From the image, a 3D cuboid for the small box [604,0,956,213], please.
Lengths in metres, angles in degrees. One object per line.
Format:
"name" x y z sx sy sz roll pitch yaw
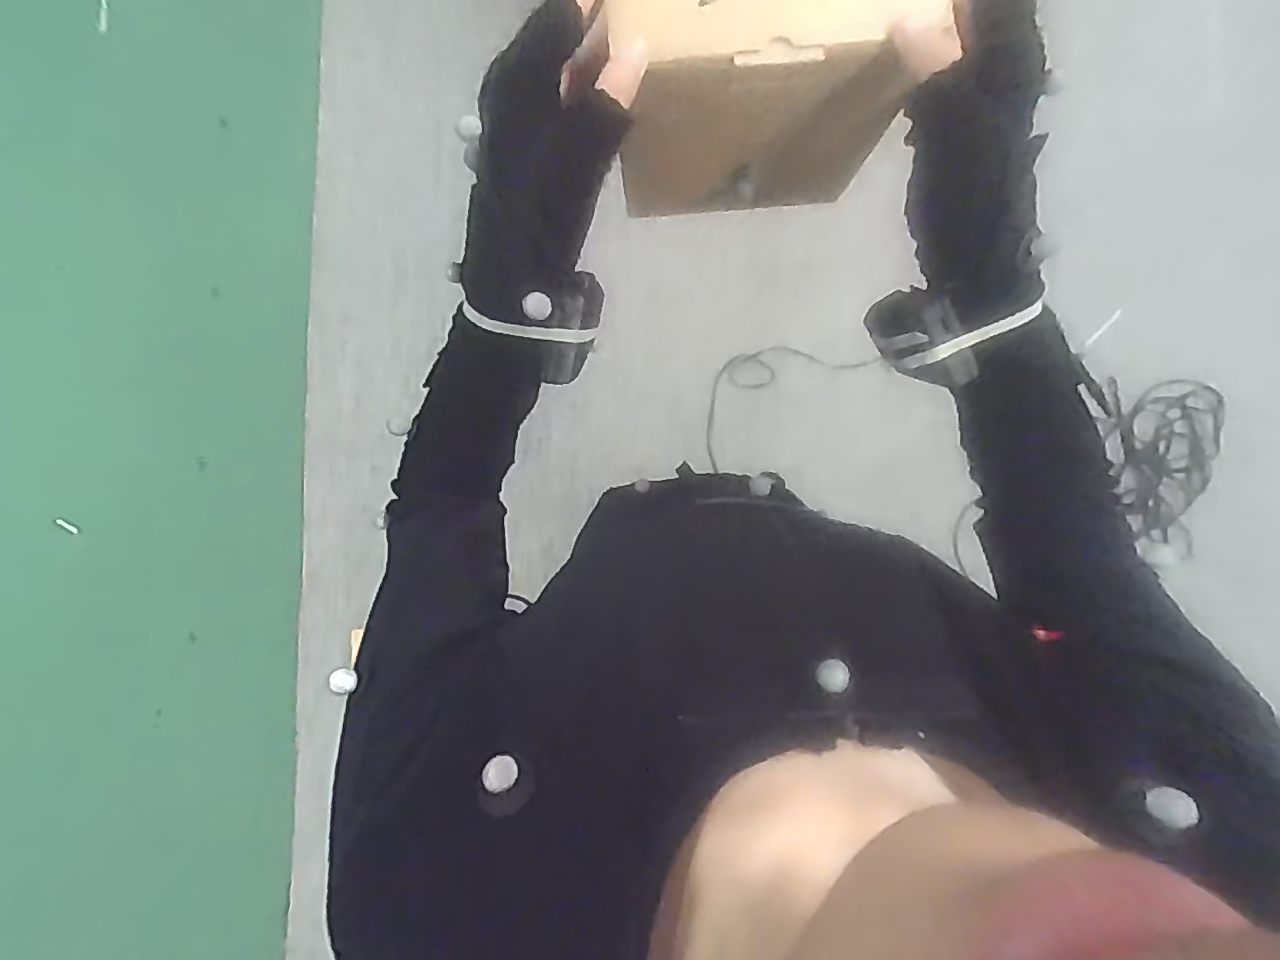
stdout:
"small box" 0.064 -0.294 0.332 0.168 0.176 0.179 -3 91 3
